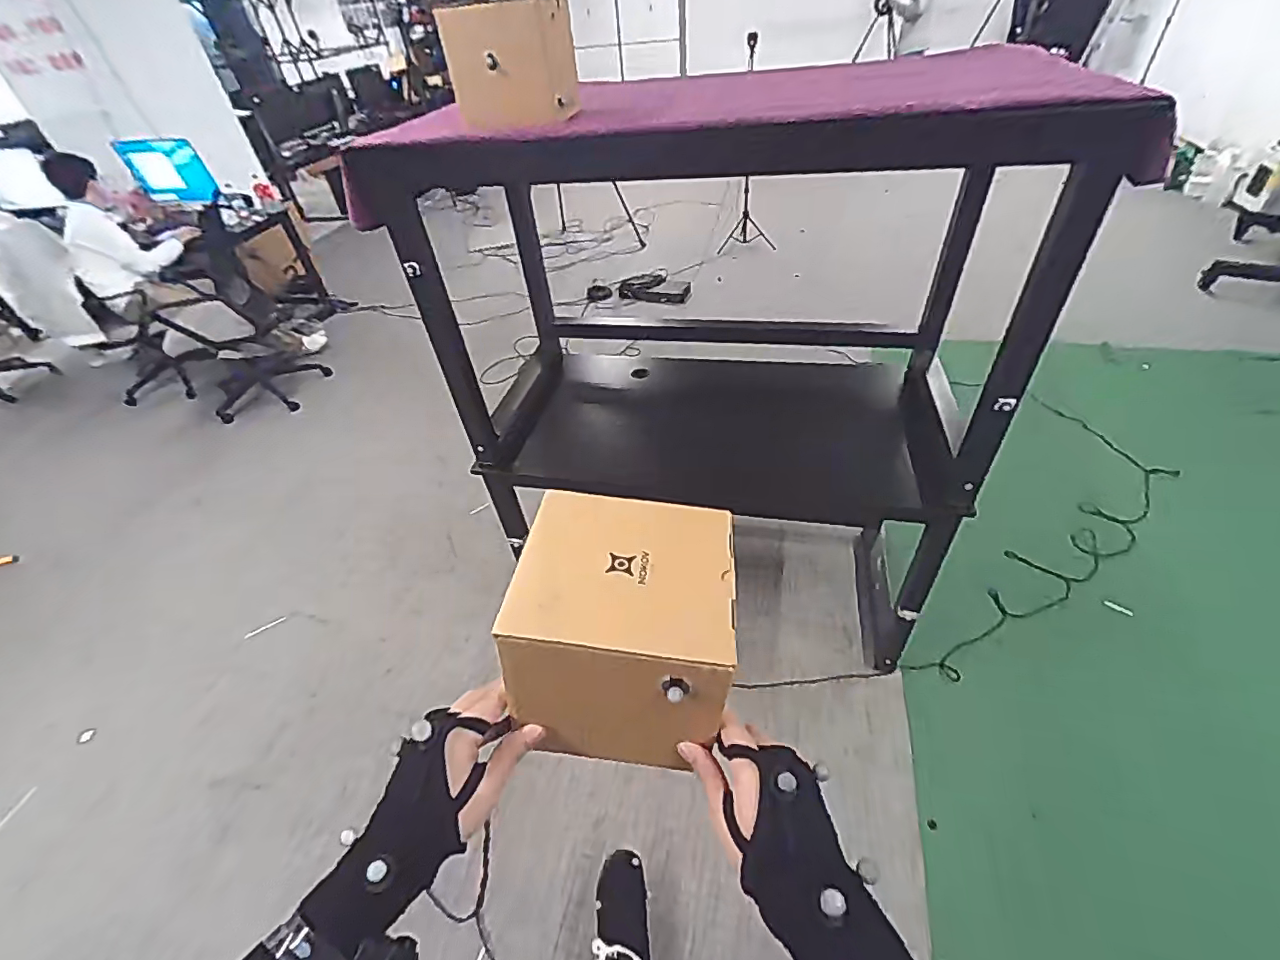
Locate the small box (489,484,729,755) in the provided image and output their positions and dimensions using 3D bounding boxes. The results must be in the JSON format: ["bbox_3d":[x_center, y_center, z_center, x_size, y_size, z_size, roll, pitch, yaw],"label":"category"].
[{"bbox_3d":[-0.018,0.125,0.492,0.179,0.176,0.168,6,39,3],"label":"small box"}]

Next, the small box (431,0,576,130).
[{"bbox_3d":[-0.220,-0.722,0.933,0.179,0.176,0.168,3,43,11],"label":"small box"}]
